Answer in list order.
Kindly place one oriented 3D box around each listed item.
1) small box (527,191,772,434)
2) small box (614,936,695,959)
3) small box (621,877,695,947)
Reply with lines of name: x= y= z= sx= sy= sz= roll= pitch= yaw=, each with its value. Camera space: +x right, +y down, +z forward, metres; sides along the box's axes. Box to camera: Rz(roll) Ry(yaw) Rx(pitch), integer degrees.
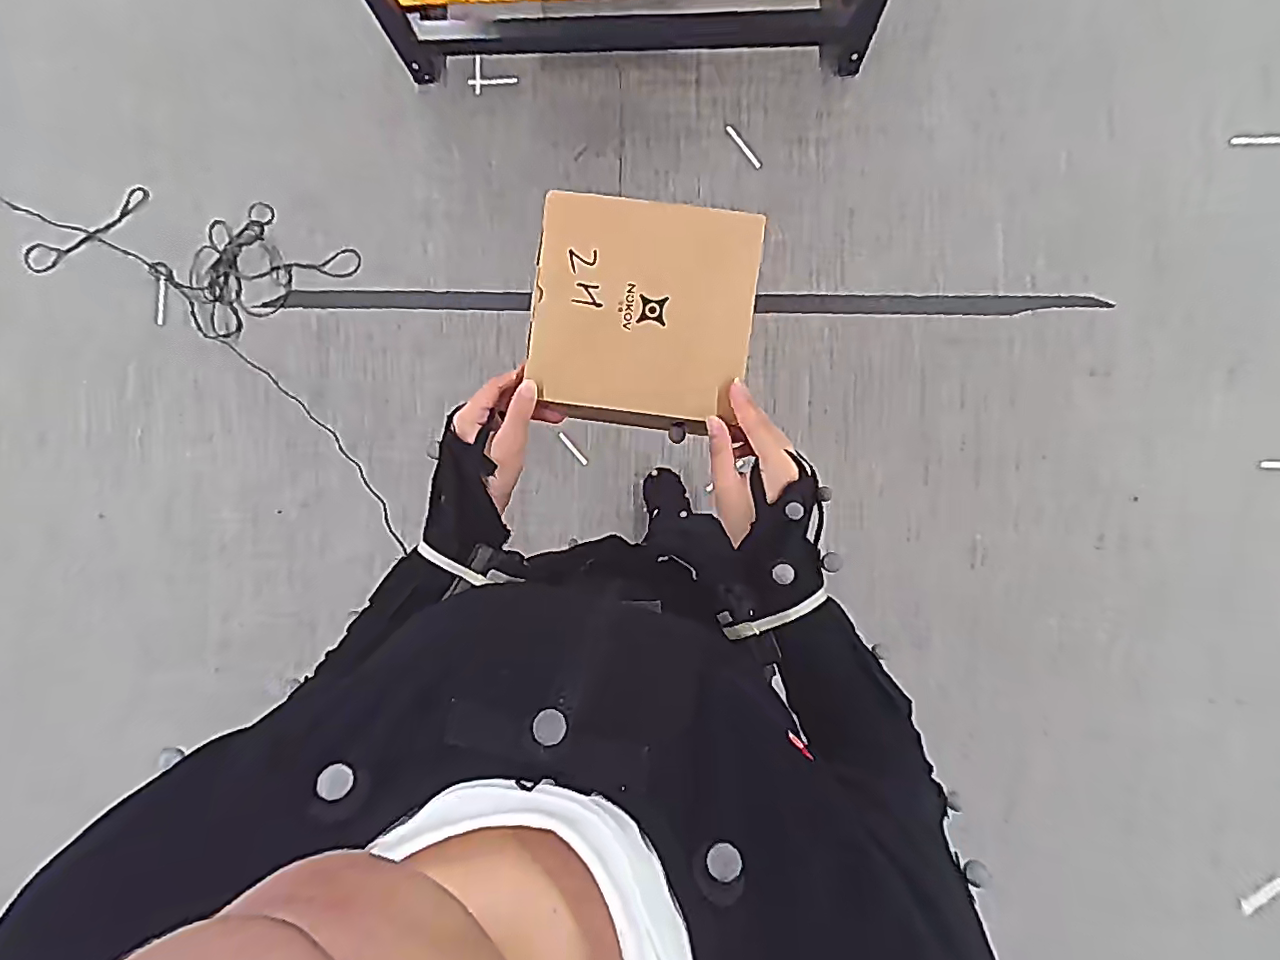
small box: x=0.008 y=-0.136 z=0.503 sx=0.179 sy=0.176 sz=0.168 roll=8 pitch=91 yaw=1
small box: x=0.032 y=1.077 z=1.103 sx=0.179 sy=0.176 sz=0.168 roll=-4 pitch=88 yaw=4
small box: x=0.038 y=1.075 z=1.265 sx=0.168 sy=0.176 sz=0.179 roll=3 pitch=89 yaw=3
